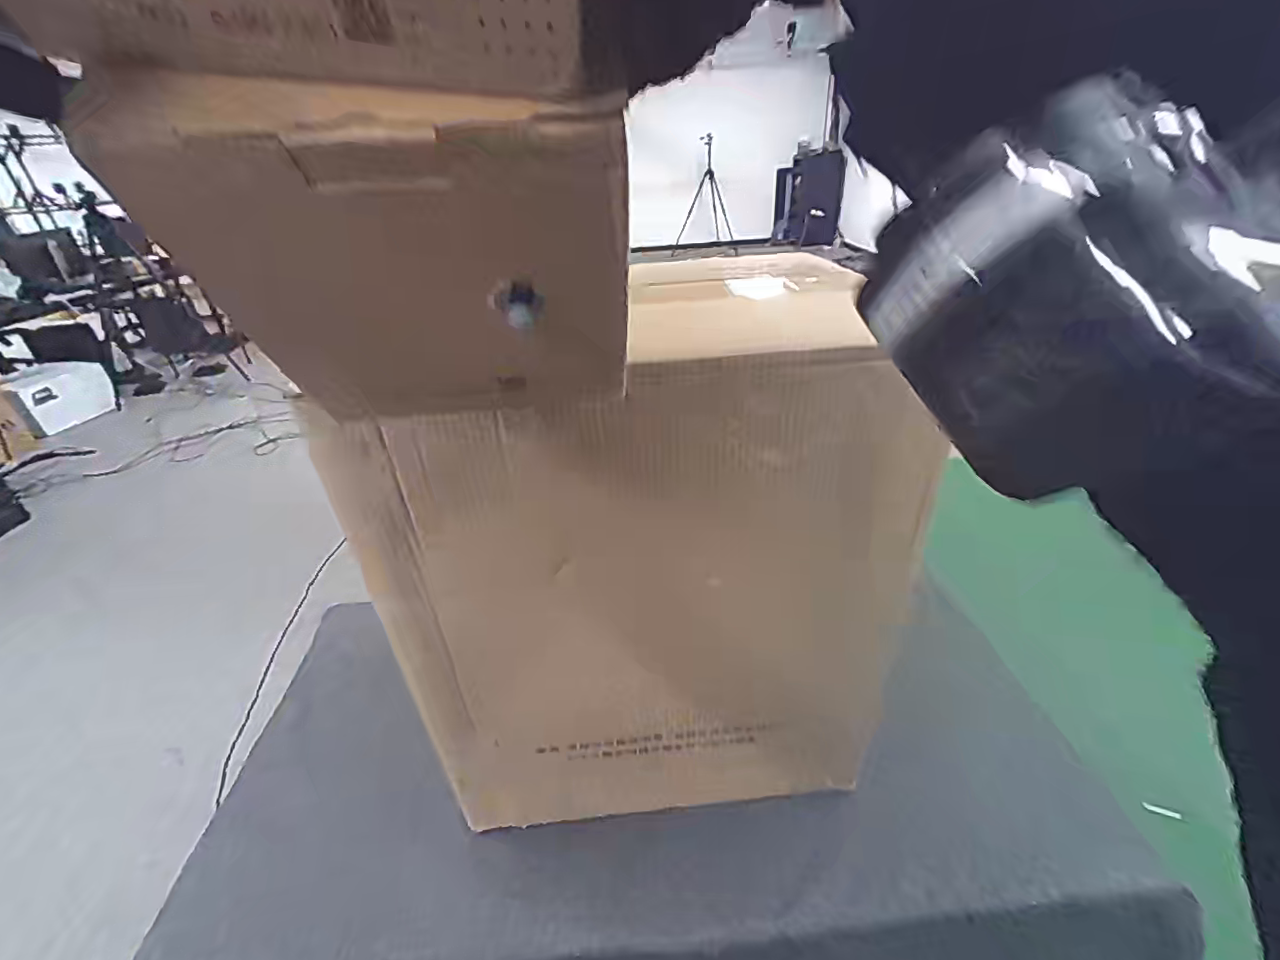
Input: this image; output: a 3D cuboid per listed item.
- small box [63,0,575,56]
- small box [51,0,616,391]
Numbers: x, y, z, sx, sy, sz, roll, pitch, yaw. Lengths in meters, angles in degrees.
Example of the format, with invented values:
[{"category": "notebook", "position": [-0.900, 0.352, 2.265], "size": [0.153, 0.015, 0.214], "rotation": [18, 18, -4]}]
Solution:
[{"category": "small box", "position": [-0.098, -0.235, 0.134], "size": [0.168, 0.176, 0.179], "rotation": [3, 70, -2]}, {"category": "small box", "position": [-0.105, -0.158, 0.264], "size": [0.168, 0.176, 0.179], "rotation": [-10, 69, -6]}]
